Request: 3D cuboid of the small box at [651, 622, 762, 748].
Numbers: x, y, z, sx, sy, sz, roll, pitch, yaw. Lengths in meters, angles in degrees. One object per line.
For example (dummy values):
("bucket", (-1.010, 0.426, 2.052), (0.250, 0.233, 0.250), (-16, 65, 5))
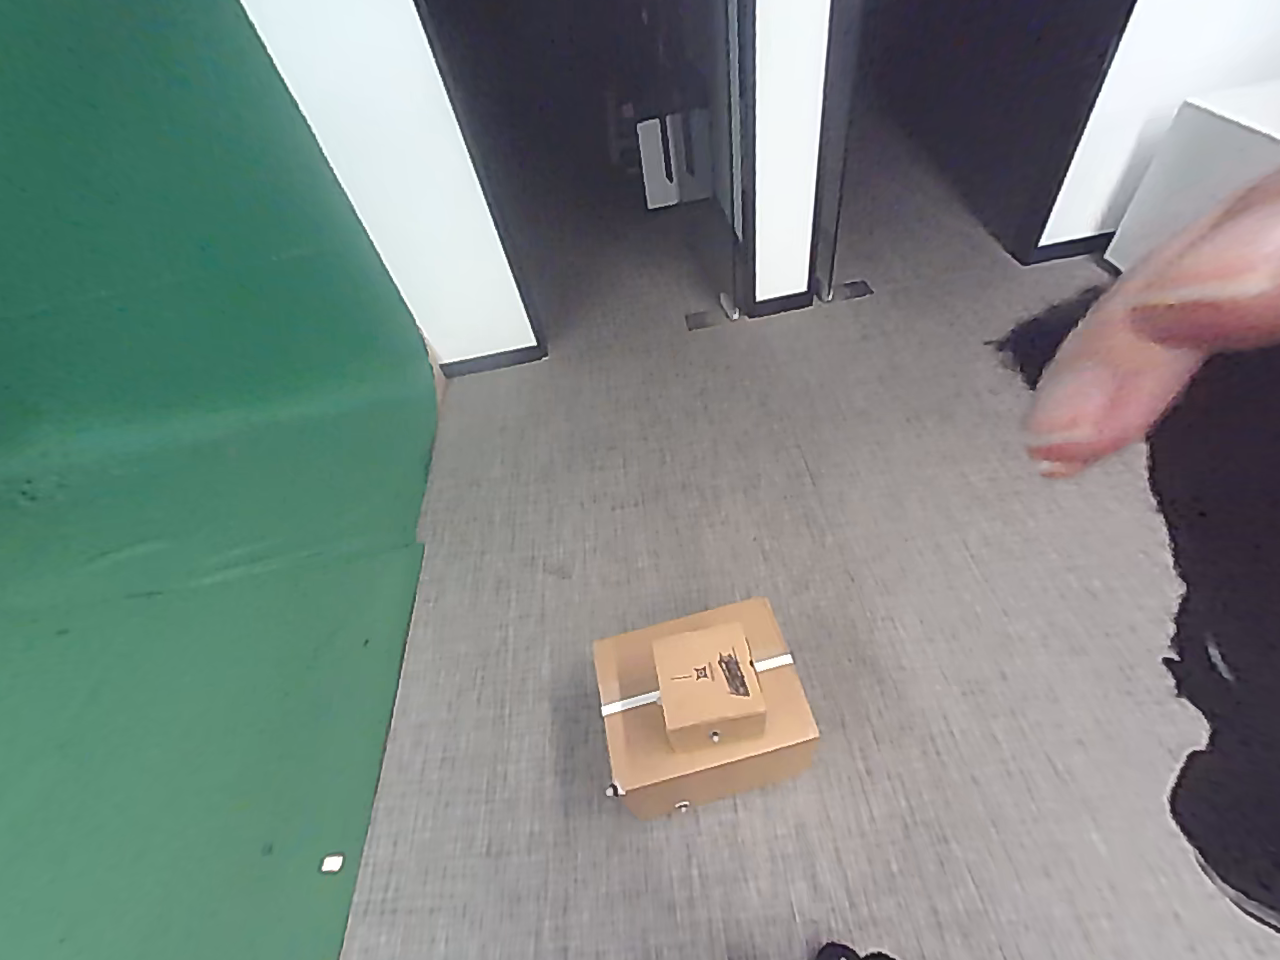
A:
("small box", (0.126, 0.395, 1.034), (0.179, 0.176, 0.168), (-12, 49, 2))
